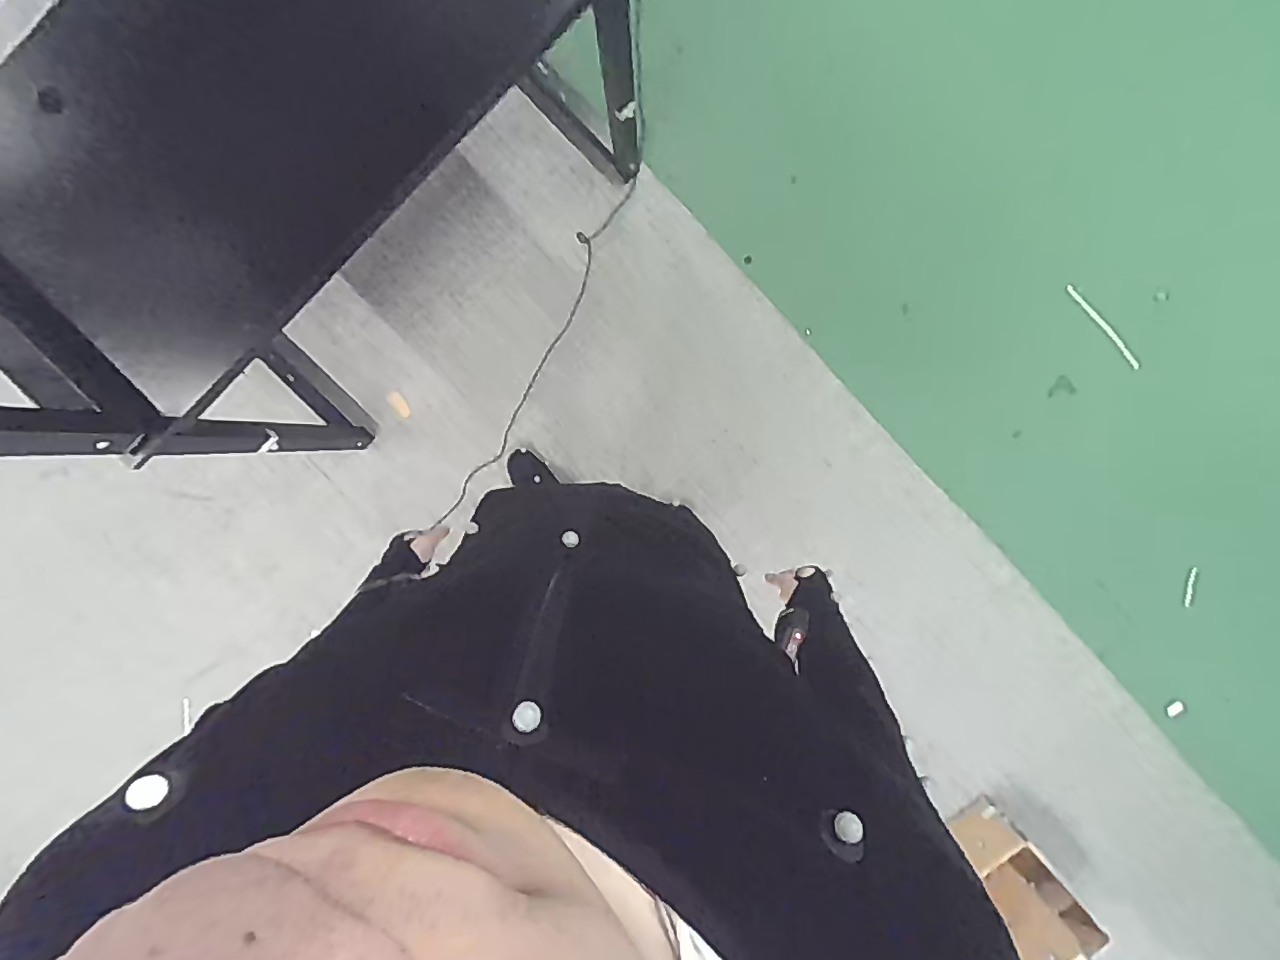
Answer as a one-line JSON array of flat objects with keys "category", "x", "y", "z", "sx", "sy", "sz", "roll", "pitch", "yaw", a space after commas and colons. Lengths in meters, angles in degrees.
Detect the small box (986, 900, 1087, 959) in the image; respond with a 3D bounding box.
[{"category": "small box", "x": 1.049, "y": 1.245, "z": 1.386, "sx": 0.168, "sy": 0.176, "sz": 0.179, "roll": -42, "pitch": 92, "yaw": 4}]
